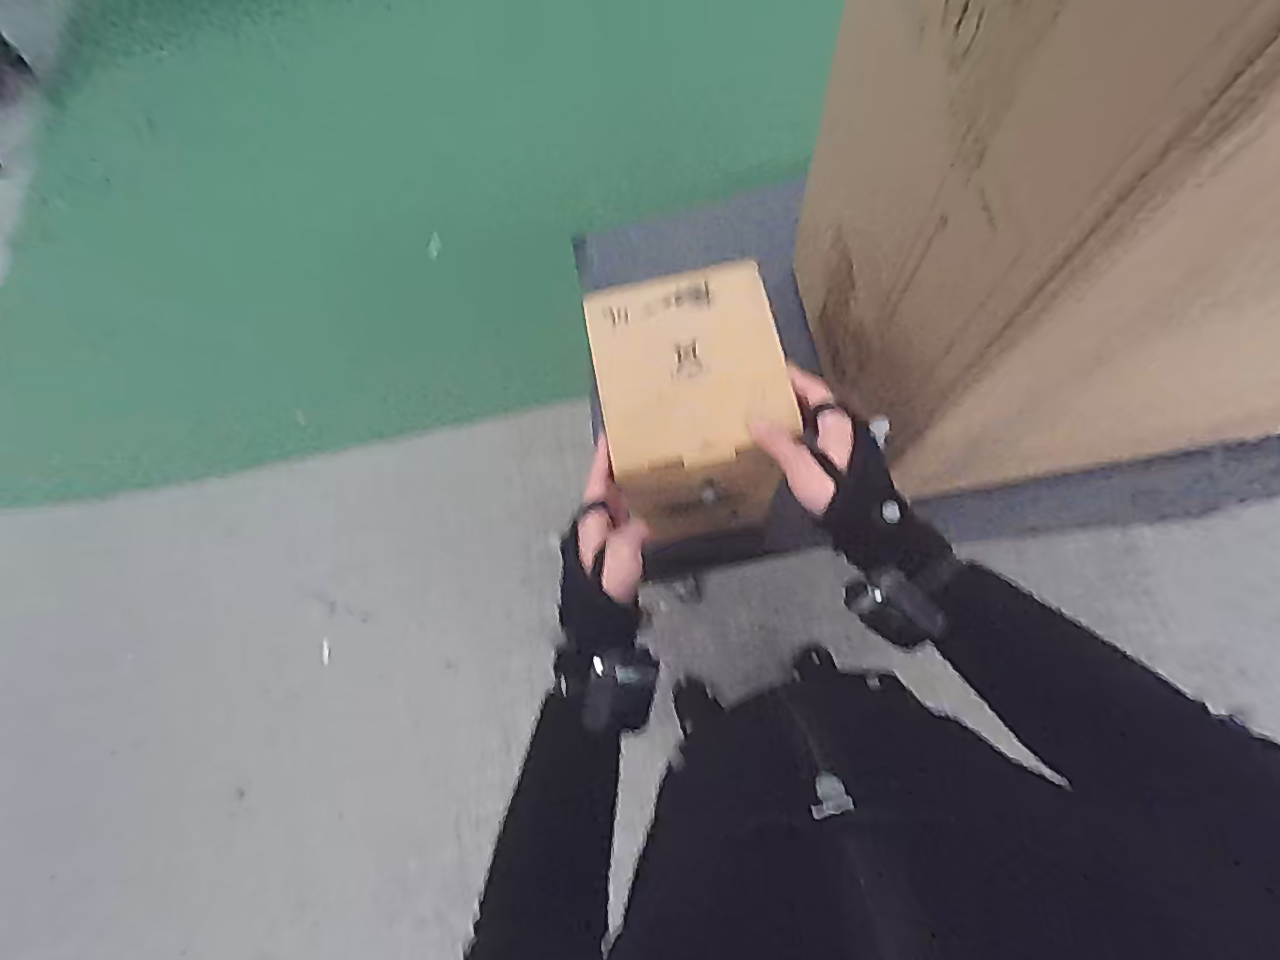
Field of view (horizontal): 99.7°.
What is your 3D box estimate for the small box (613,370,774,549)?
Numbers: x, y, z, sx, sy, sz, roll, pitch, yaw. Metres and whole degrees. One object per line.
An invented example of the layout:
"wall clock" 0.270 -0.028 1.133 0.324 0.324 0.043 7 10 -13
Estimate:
"small box" 0.070 -0.014 0.717 0.168 0.176 0.179 -12 69 2
